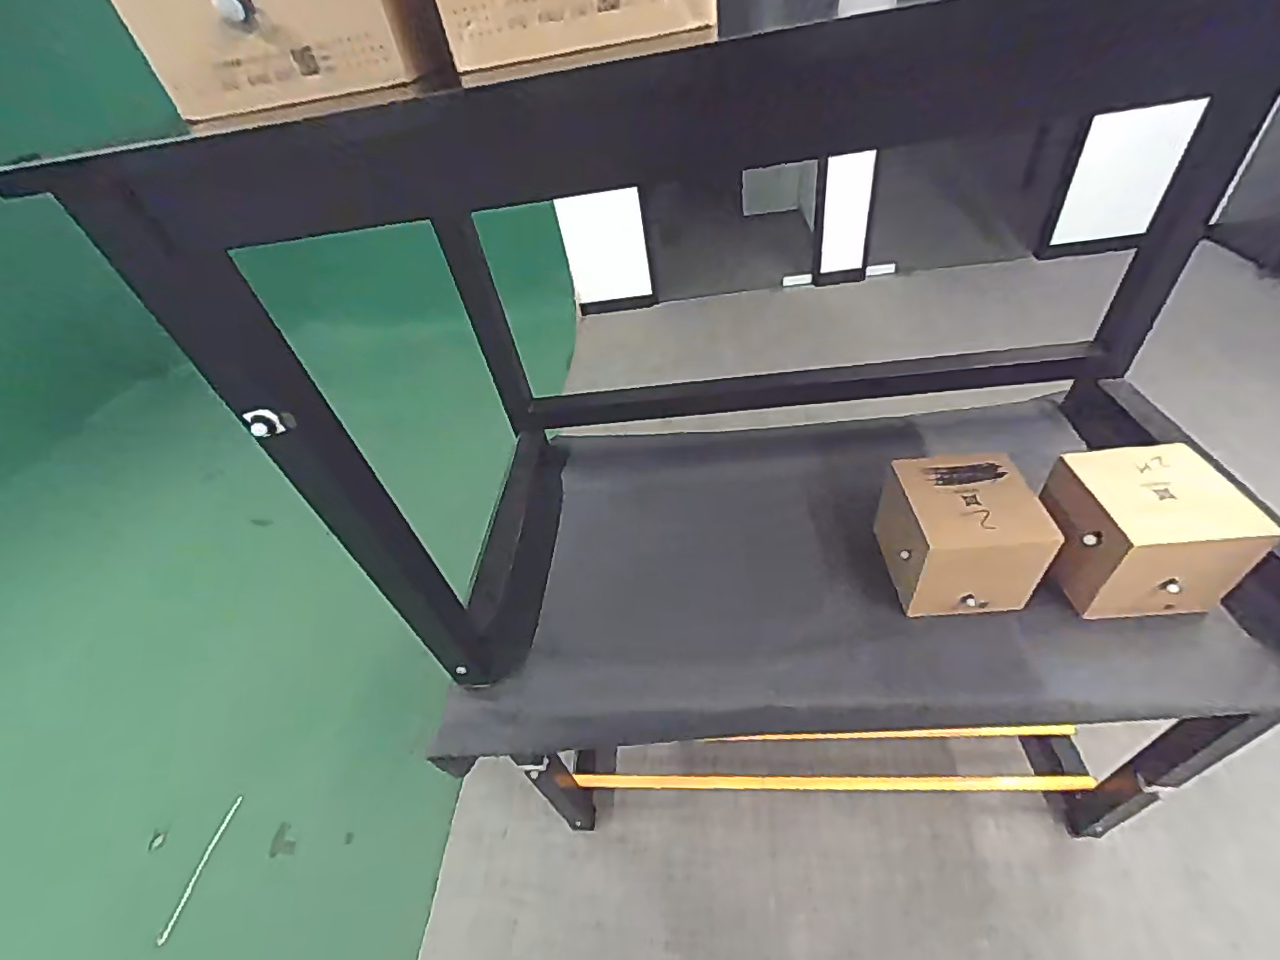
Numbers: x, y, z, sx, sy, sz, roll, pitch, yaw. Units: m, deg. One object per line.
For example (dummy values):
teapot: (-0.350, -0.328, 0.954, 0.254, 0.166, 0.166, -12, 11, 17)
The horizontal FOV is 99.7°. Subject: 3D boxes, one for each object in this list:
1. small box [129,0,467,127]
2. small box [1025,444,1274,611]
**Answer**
small box: (-0.238, -0.363, 0.372, 0.168, 0.176, 0.179, -5, 44, 7)
small box: (0.699, 0.074, 0.772, 0.168, 0.176, 0.179, -5, 42, 7)
